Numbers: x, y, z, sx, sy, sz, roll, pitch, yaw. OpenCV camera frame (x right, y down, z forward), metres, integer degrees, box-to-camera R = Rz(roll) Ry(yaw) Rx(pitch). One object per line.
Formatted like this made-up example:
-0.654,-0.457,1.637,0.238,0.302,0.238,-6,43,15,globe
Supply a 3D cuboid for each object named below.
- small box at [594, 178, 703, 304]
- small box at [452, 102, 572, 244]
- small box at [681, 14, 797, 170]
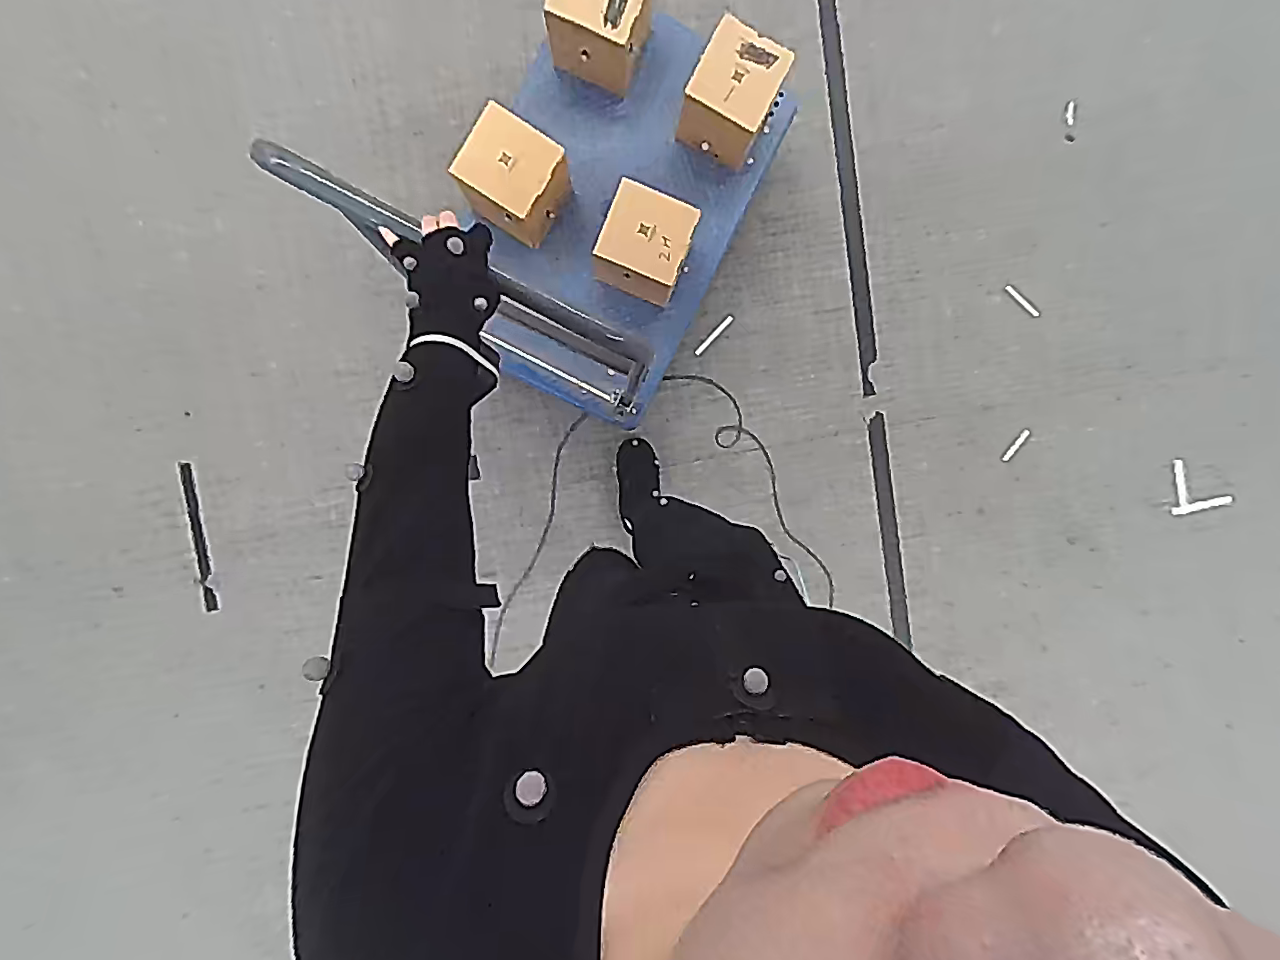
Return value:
0.015,-0.502,1.167,0.179,0.176,0.168,22,93,-3,small box
-0.262,-0.636,1.149,0.179,0.176,0.168,31,92,-5,small box
0.200,-0.813,1.154,0.168,0.176,0.179,28,93,-4,small box
